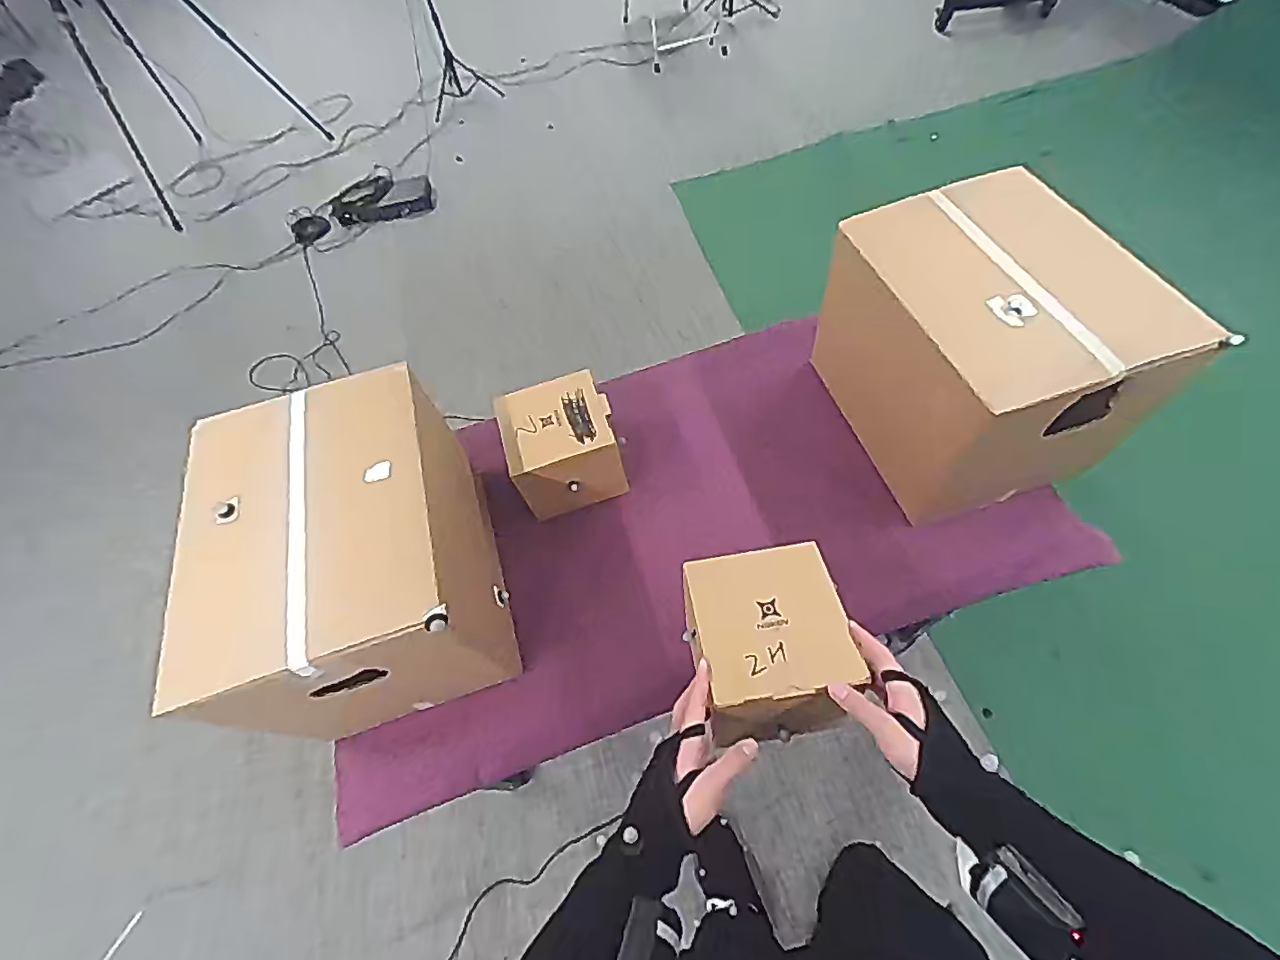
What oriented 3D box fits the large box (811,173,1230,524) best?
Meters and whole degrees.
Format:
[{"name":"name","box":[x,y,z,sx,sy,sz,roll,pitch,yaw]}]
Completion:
[{"name":"large box","box":[0.522,-0.201,0.865,0.320,0.320,0.408,-18,60,-2]}]

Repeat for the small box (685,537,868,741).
[{"name":"small box","box":[0.149,0.197,0.665,0.168,0.176,0.179,-9,51,-1]}]
